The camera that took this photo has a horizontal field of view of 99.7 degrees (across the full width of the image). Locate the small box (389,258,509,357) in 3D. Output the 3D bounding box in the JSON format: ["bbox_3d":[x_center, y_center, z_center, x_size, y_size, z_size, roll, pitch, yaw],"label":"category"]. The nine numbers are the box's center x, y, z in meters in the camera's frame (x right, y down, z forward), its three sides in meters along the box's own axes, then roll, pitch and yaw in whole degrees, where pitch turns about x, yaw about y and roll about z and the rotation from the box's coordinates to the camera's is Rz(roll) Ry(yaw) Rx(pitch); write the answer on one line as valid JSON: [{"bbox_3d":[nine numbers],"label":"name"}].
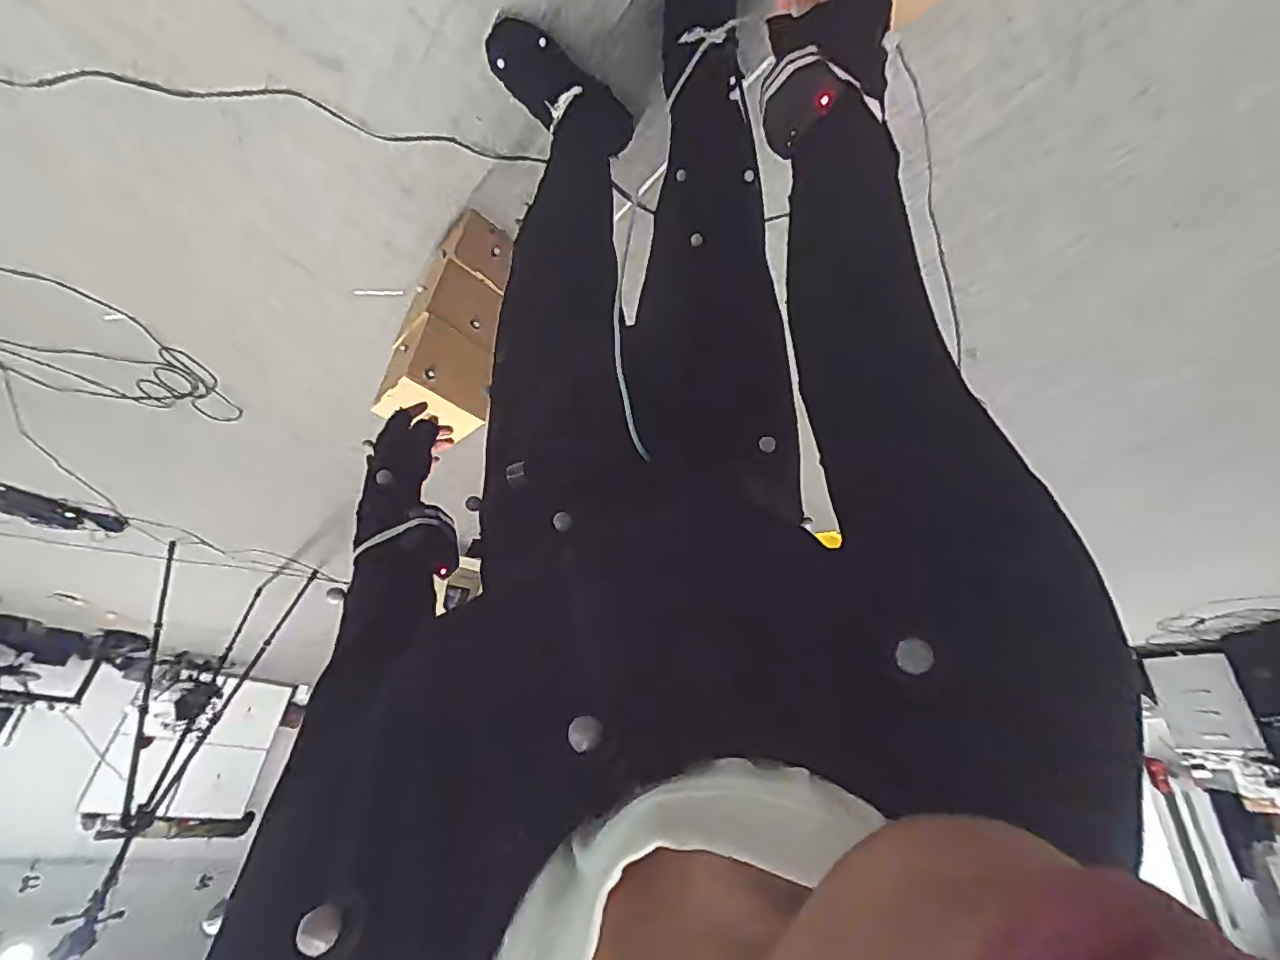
[{"bbox_3d":[-0.415,-0.350,1.200,0.168,0.176,0.179,-22,139,39],"label":"small box"}]

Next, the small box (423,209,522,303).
[{"bbox_3d":[-0.396,-0.494,1.279,0.179,0.176,0.168,-24,139,39],"label":"small box"}]

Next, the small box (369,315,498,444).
[{"bbox_3d":[-0.422,-0.207,1.124,0.168,0.176,0.179,-23,139,40],"label":"small box"}]
